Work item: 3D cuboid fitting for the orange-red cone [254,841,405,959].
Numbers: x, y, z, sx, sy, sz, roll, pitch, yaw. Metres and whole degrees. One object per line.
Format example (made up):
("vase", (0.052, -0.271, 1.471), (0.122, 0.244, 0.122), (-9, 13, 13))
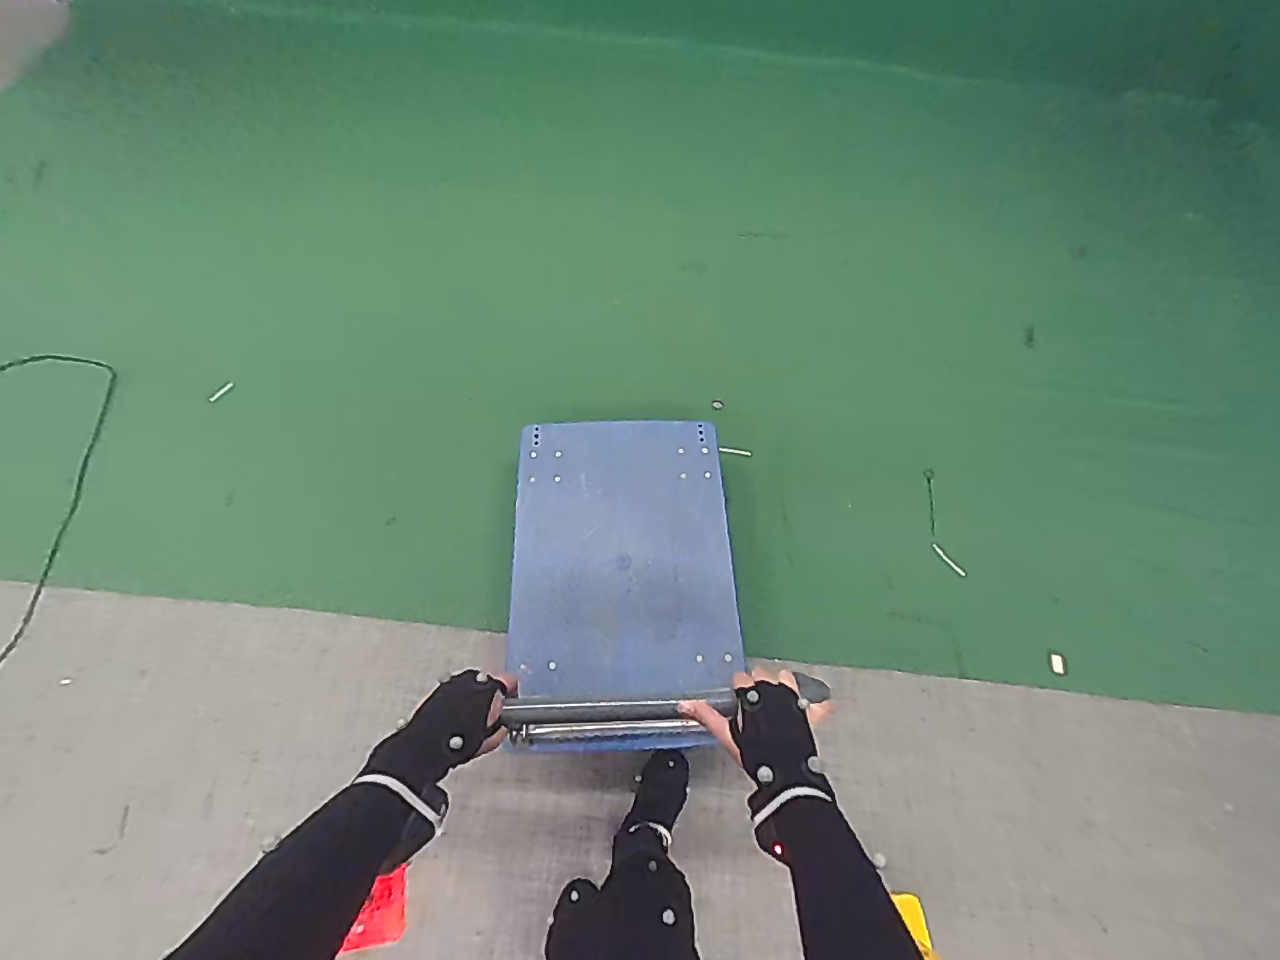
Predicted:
("orange-red cone", (-0.626, 0.851, 1.049), (0.199, 0.360, 0.198), (-8, 63, -5))
